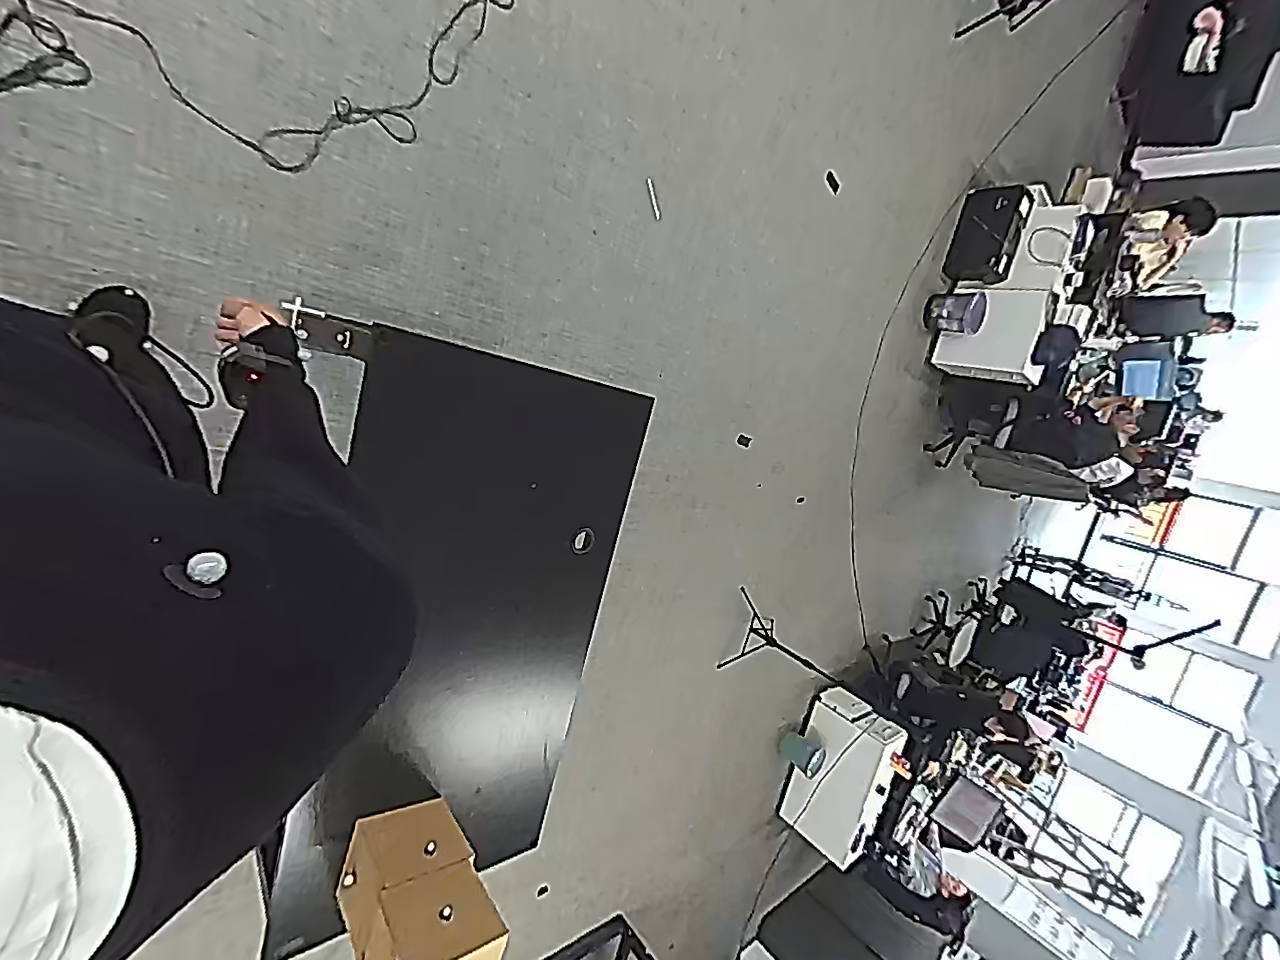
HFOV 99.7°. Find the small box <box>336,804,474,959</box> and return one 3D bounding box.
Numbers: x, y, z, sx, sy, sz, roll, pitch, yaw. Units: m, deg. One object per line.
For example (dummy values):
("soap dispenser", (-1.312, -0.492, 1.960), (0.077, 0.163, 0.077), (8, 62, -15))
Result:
("small box", (-0.458, 0.769, 1.047), (0.179, 0.176, 0.168), (13, 96, -45))
